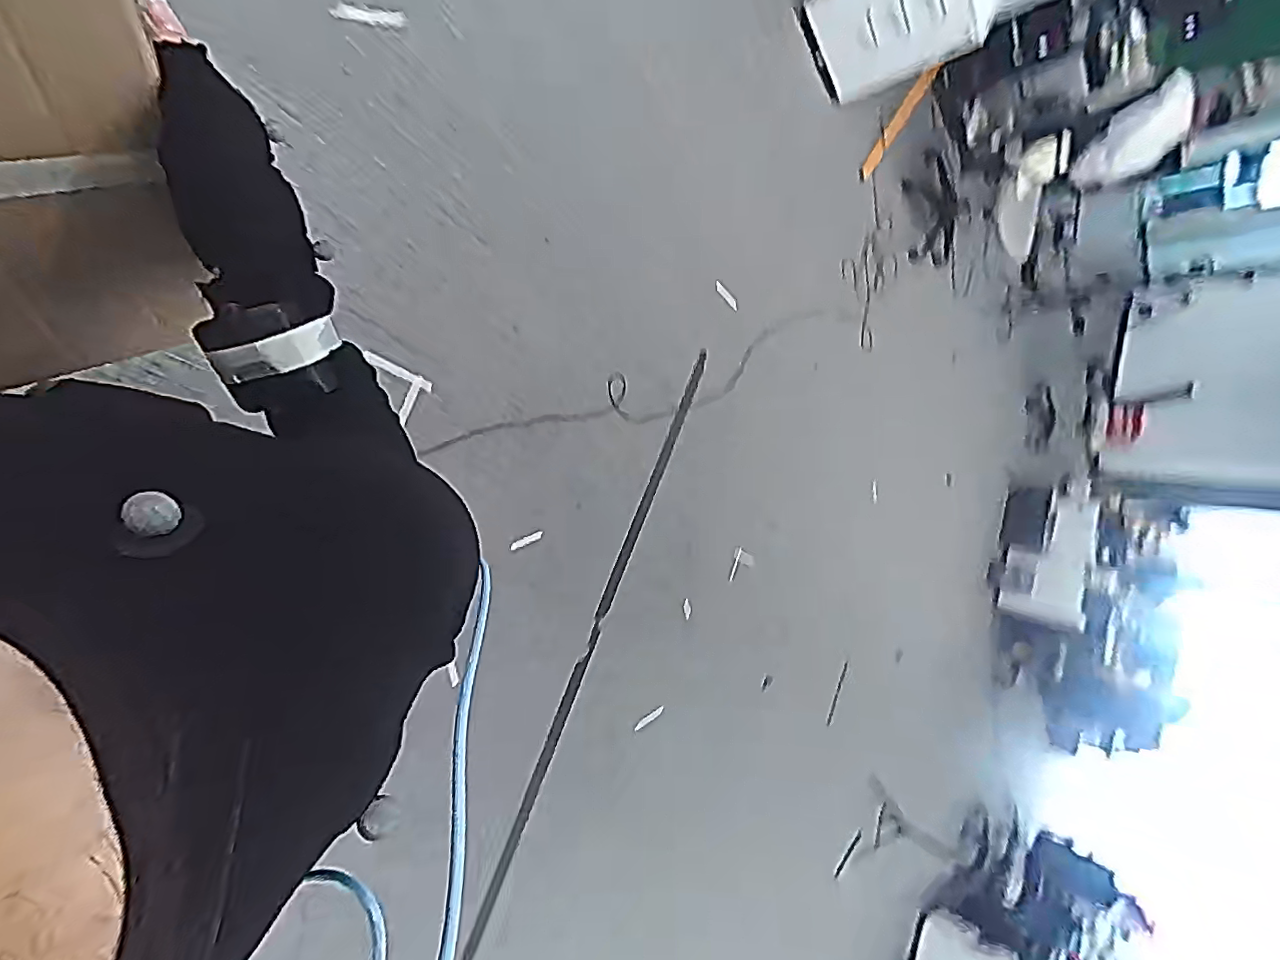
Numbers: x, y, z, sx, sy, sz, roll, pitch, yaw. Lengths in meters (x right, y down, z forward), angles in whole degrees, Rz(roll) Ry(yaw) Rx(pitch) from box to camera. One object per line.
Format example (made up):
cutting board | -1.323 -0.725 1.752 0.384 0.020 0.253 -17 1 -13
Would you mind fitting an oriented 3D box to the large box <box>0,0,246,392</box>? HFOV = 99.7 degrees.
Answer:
large box | -0.485 -0.217 0.222 0.408 0.320 0.320 -32 84 -35
